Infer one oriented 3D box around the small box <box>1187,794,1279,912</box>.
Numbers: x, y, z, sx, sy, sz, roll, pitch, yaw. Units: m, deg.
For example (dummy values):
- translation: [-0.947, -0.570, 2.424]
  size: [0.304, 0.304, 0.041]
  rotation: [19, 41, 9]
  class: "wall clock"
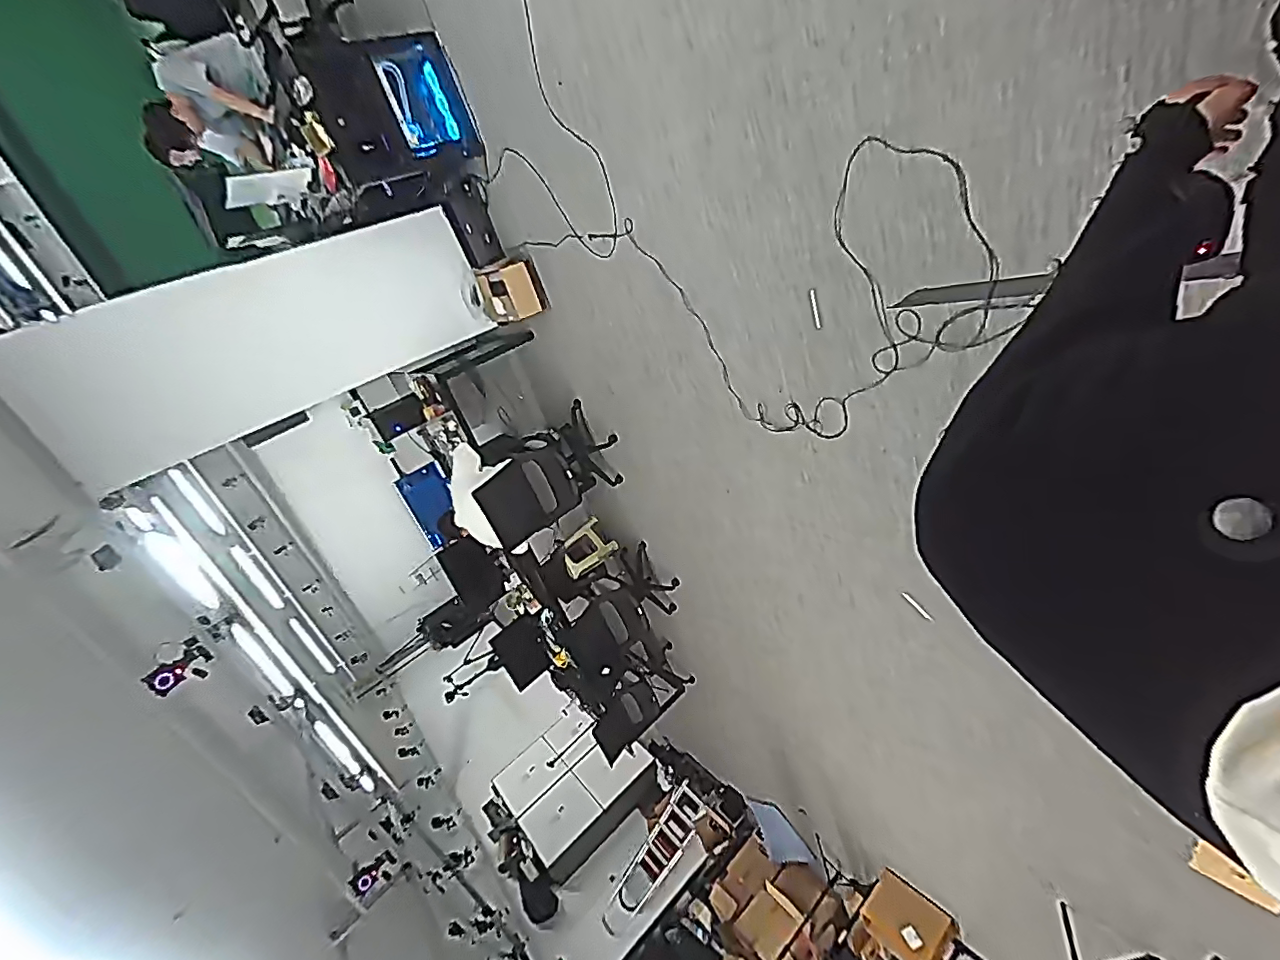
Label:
- translation: [1.668, 1.019, 1.492]
  size: [0.179, 0.176, 0.168]
  rotation: [20, 137, 49]
  class: "small box"
